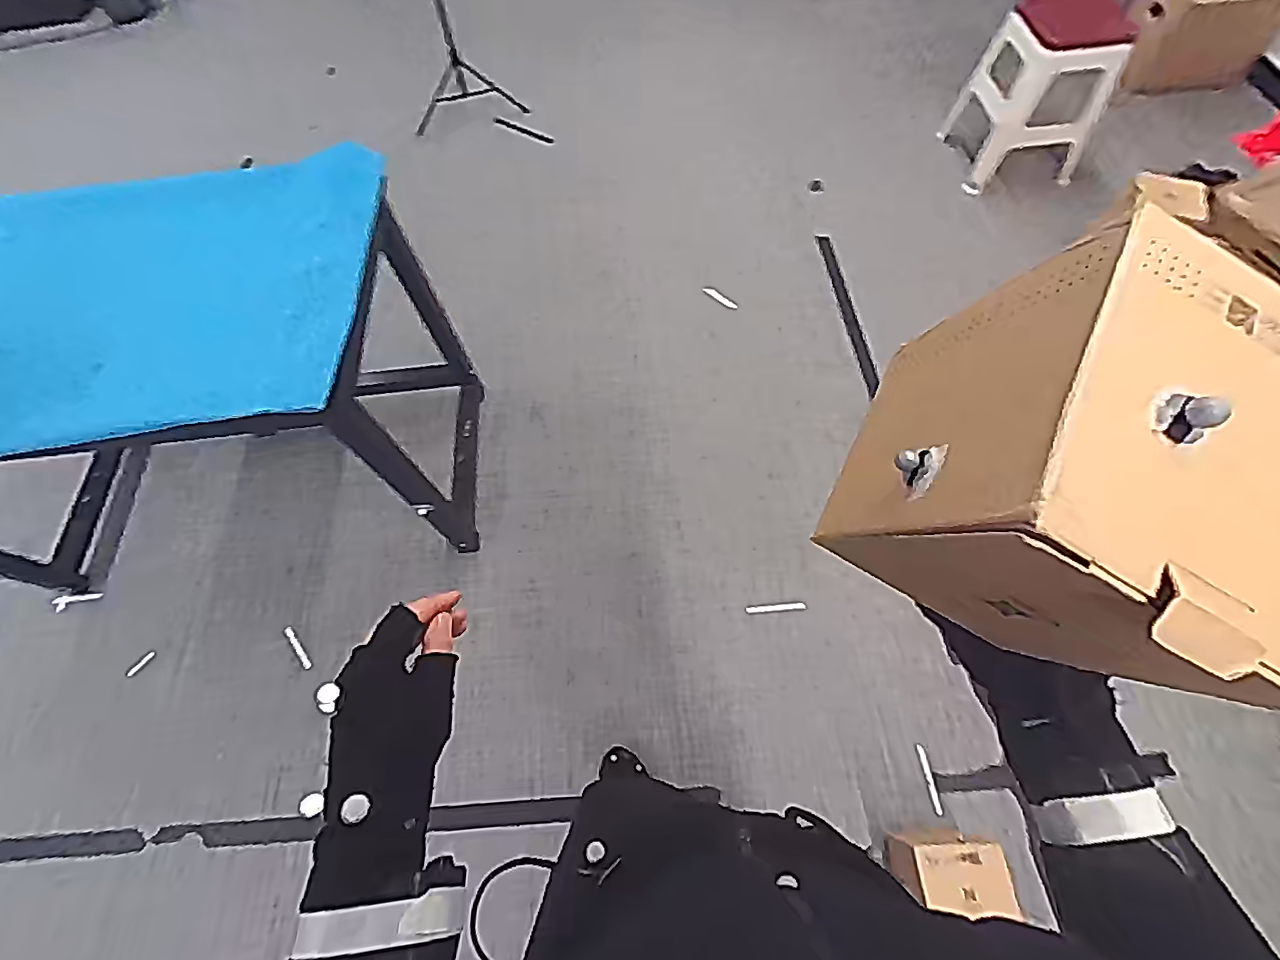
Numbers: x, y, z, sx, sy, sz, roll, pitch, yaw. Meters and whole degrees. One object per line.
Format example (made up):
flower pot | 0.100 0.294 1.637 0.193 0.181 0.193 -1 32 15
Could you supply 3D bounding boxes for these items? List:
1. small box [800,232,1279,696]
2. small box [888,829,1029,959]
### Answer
small box | 0.232 -0.004 0.320 0.168 0.179 0.176 29 78 -6
small box | 0.616 0.811 1.073 0.168 0.176 0.179 -2 65 2
